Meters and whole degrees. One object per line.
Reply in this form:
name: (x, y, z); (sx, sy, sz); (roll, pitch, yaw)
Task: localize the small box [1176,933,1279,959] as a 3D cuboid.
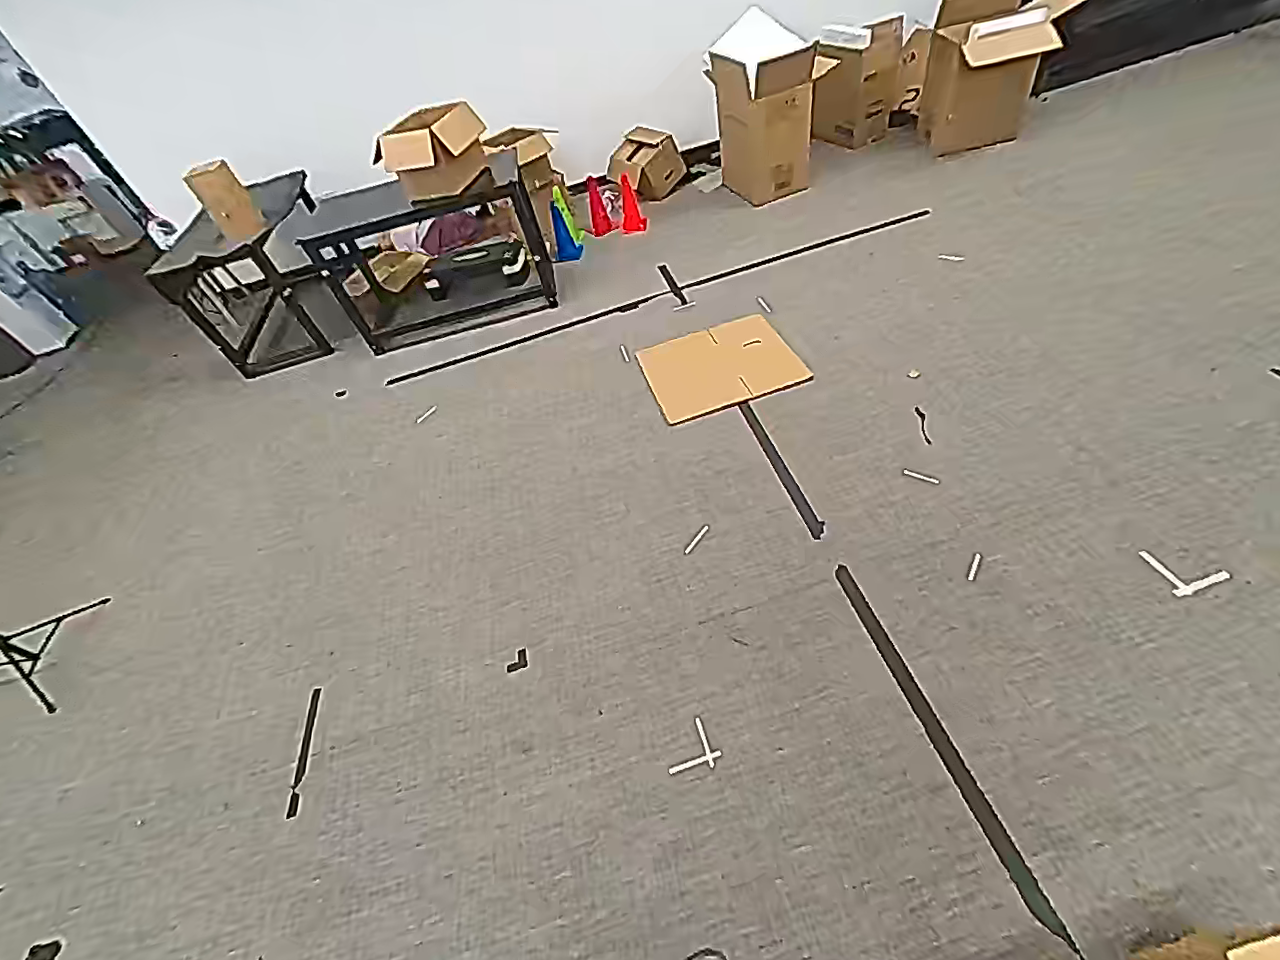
small box: (1.055, 0.862, 0.875); (0.168, 0.176, 0.179); (-16, 46, -1)
